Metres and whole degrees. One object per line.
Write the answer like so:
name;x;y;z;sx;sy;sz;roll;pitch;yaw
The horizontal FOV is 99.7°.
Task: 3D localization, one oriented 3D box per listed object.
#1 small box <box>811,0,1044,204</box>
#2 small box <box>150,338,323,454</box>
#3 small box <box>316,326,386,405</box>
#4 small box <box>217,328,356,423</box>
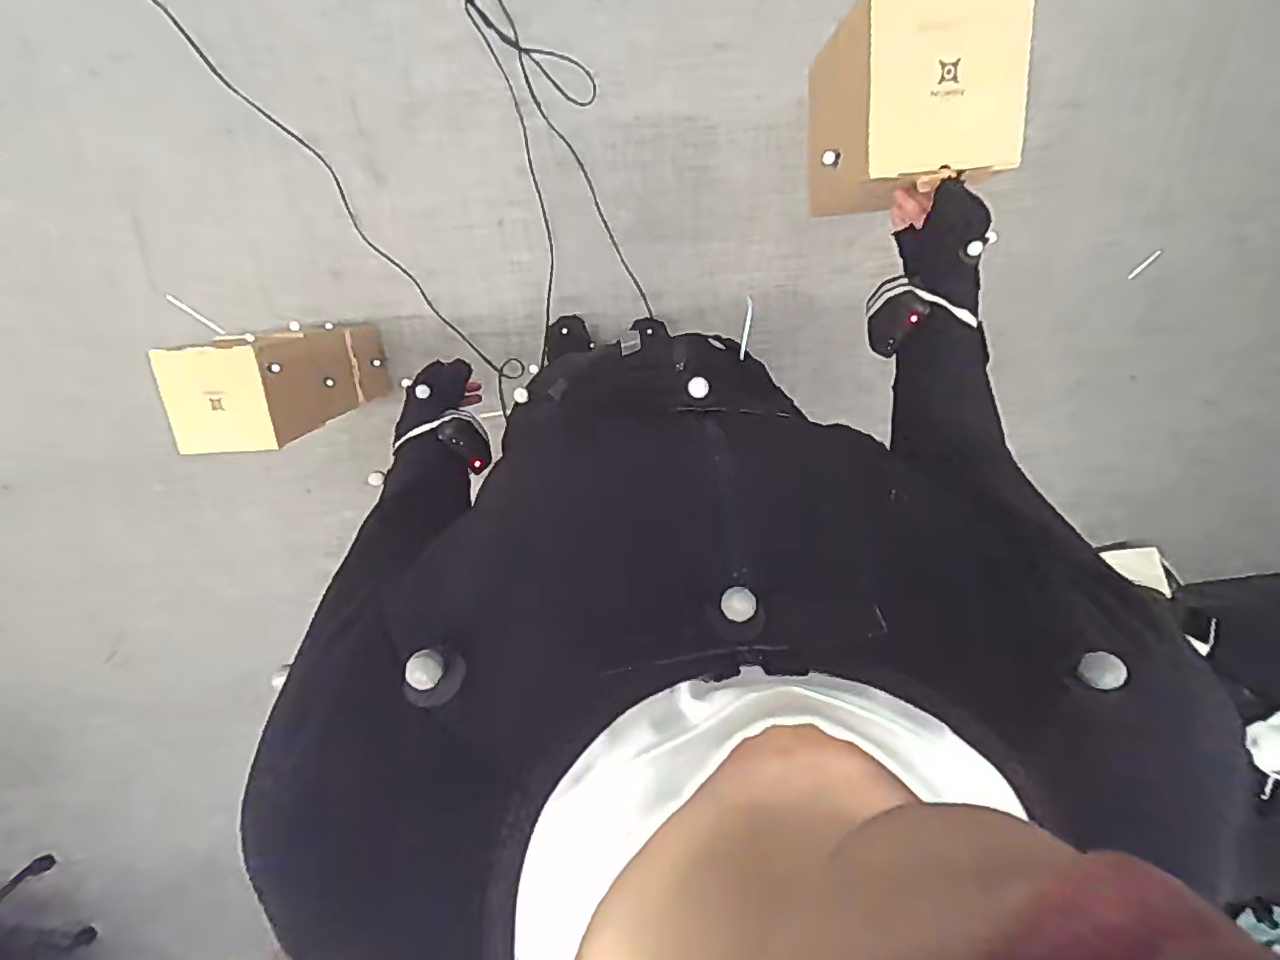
small box;0.299;-0.418;0.598;0.168;0.176;0.179;-6;104;-3
small box;-0.701;-0.155;0.966;0.168;0.176;0.179;-3;109;-3
small box;-0.719;-0.270;1.272;0.179;0.176;0.168;-4;109;-3
small box;-0.714;-0.216;1.116;0.168;0.176;0.179;-3;108;-3
